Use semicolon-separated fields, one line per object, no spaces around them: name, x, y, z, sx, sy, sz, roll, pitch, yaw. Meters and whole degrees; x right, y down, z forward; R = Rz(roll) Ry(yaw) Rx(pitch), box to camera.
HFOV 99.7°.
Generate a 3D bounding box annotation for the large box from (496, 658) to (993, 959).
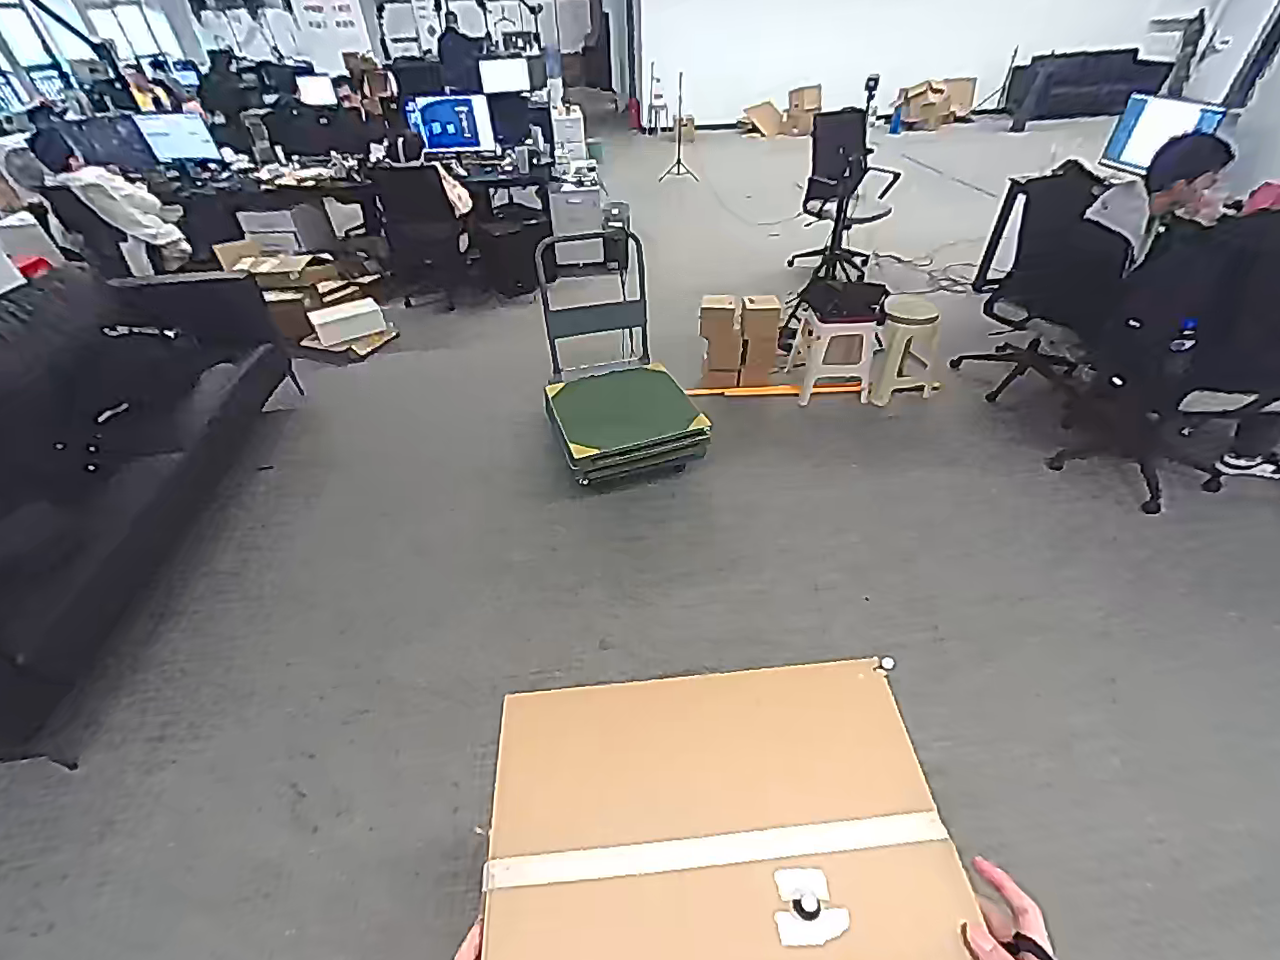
large box;0.079;0.429;0.596;0.408;0.320;0.320;-6;49;-1
